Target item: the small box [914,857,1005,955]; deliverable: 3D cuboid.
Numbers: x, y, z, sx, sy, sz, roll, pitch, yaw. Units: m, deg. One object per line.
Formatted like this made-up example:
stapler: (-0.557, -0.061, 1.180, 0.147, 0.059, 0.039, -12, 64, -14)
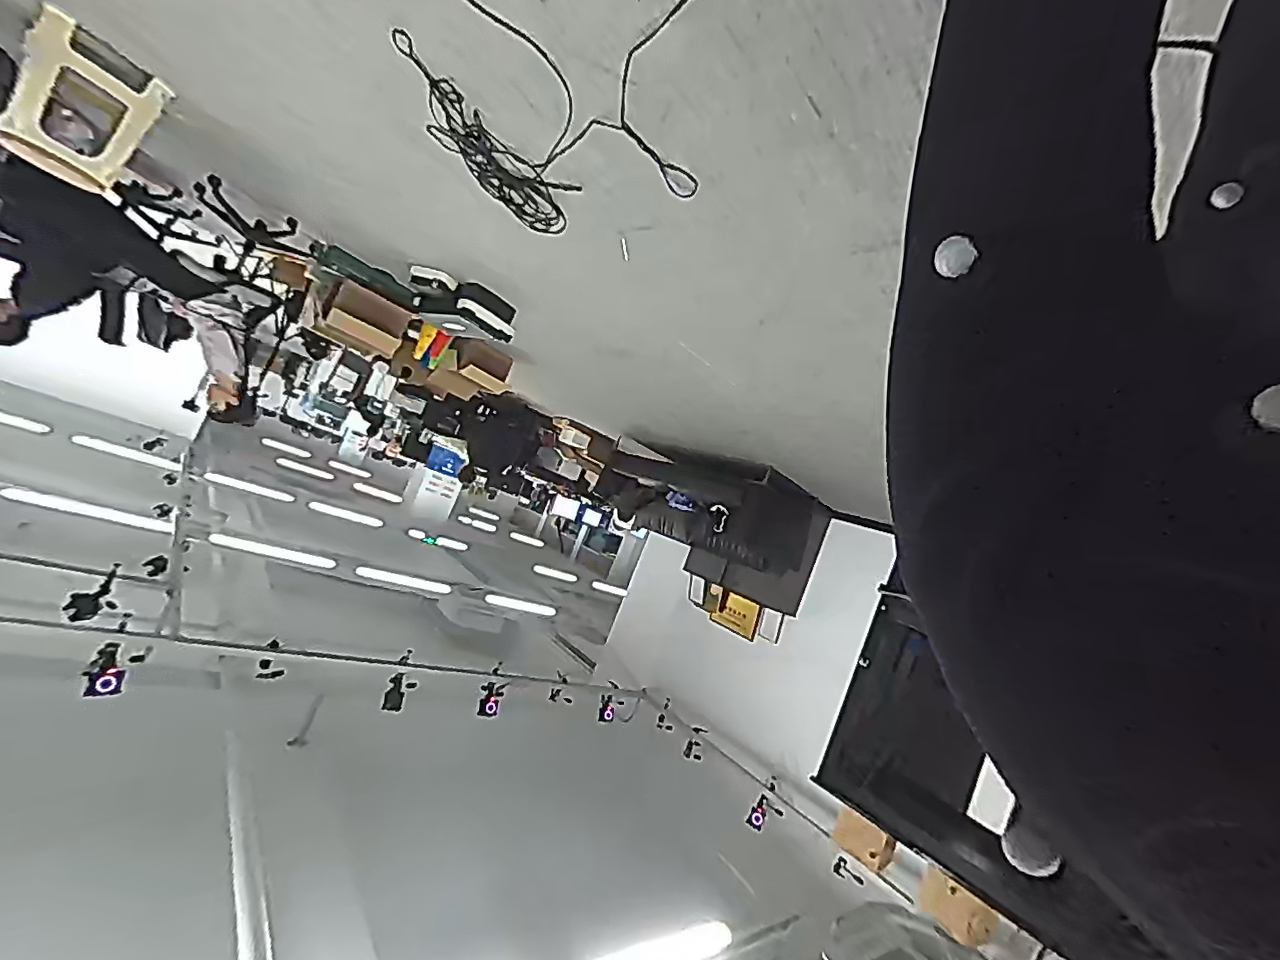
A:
small box: (0.985, 1.296, 1.660, 0.179, 0.176, 0.168, 26, 173, -35)
